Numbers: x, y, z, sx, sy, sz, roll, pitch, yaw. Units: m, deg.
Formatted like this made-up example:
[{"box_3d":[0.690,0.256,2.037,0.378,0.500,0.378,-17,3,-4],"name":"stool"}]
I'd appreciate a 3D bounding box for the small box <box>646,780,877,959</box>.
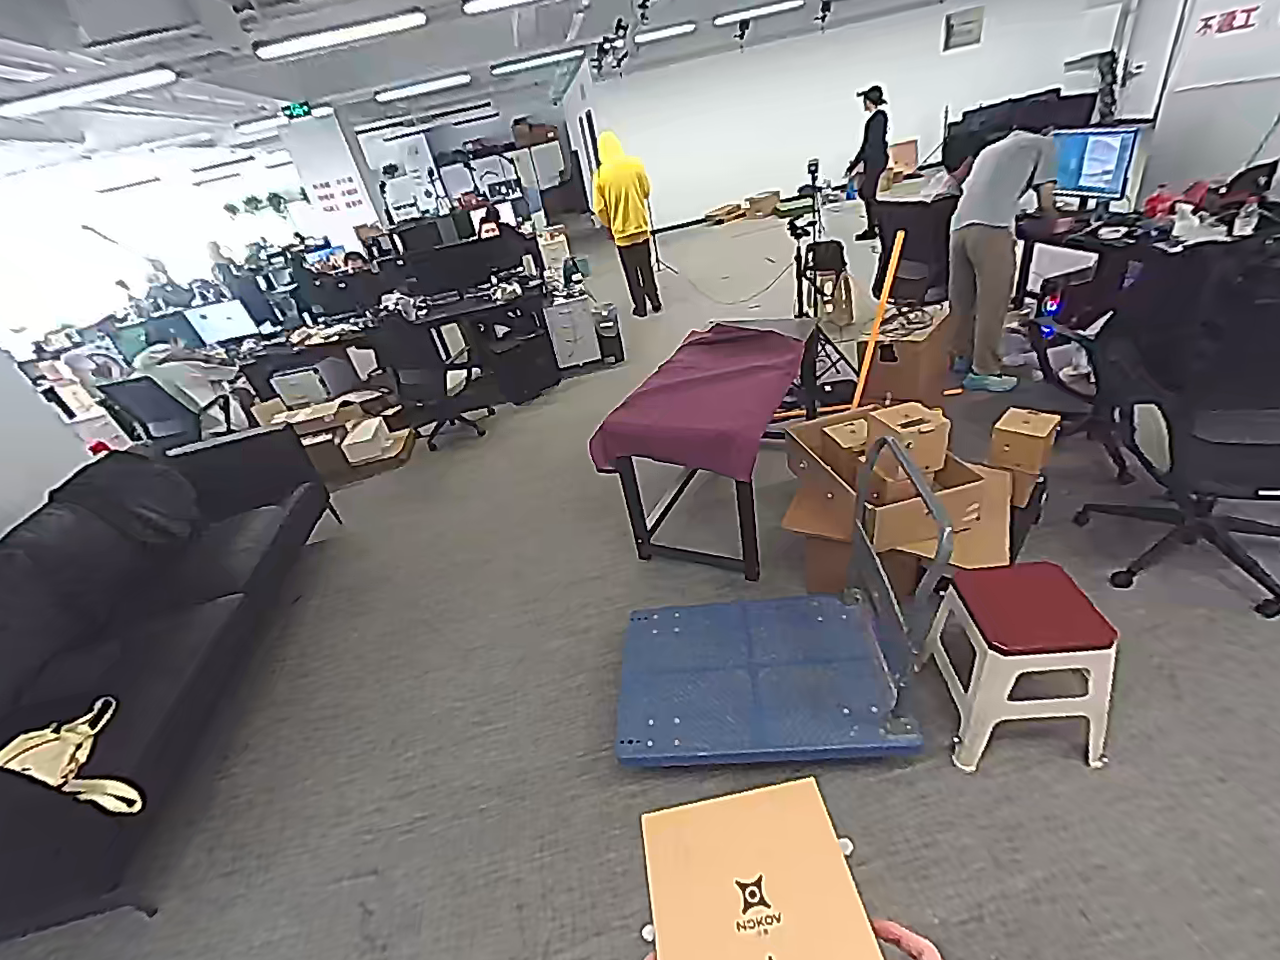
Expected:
[{"box_3d":[0.105,0.409,0.484,0.168,0.176,0.179,-12,35,1],"name":"small box"}]
